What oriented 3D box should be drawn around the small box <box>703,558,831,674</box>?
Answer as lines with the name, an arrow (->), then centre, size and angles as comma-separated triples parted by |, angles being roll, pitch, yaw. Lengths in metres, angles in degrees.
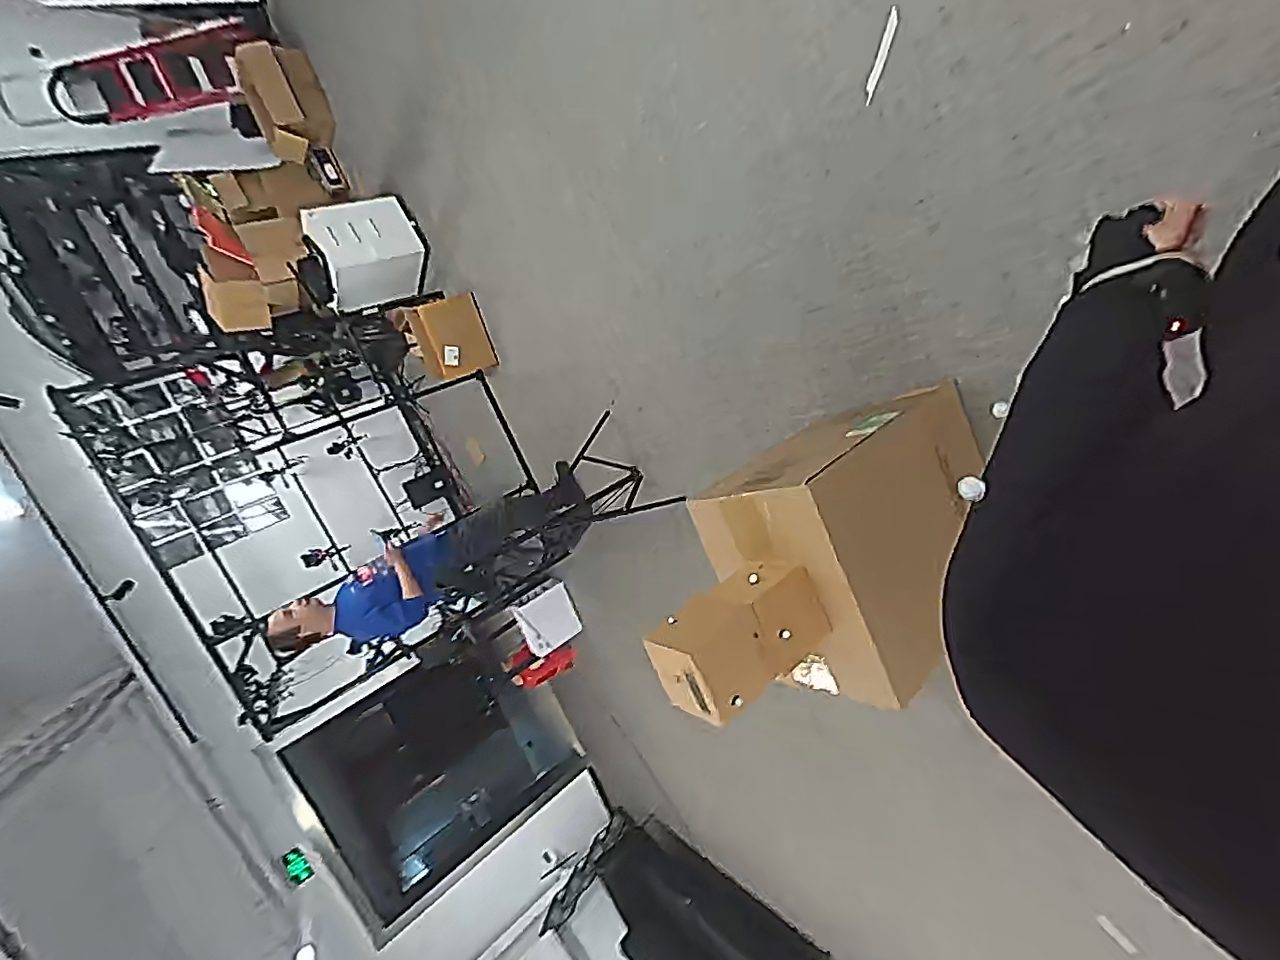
small box -> 0.275, 0.281, 1.166 | 0.168, 0.176, 0.179 | -12, 106, 58
